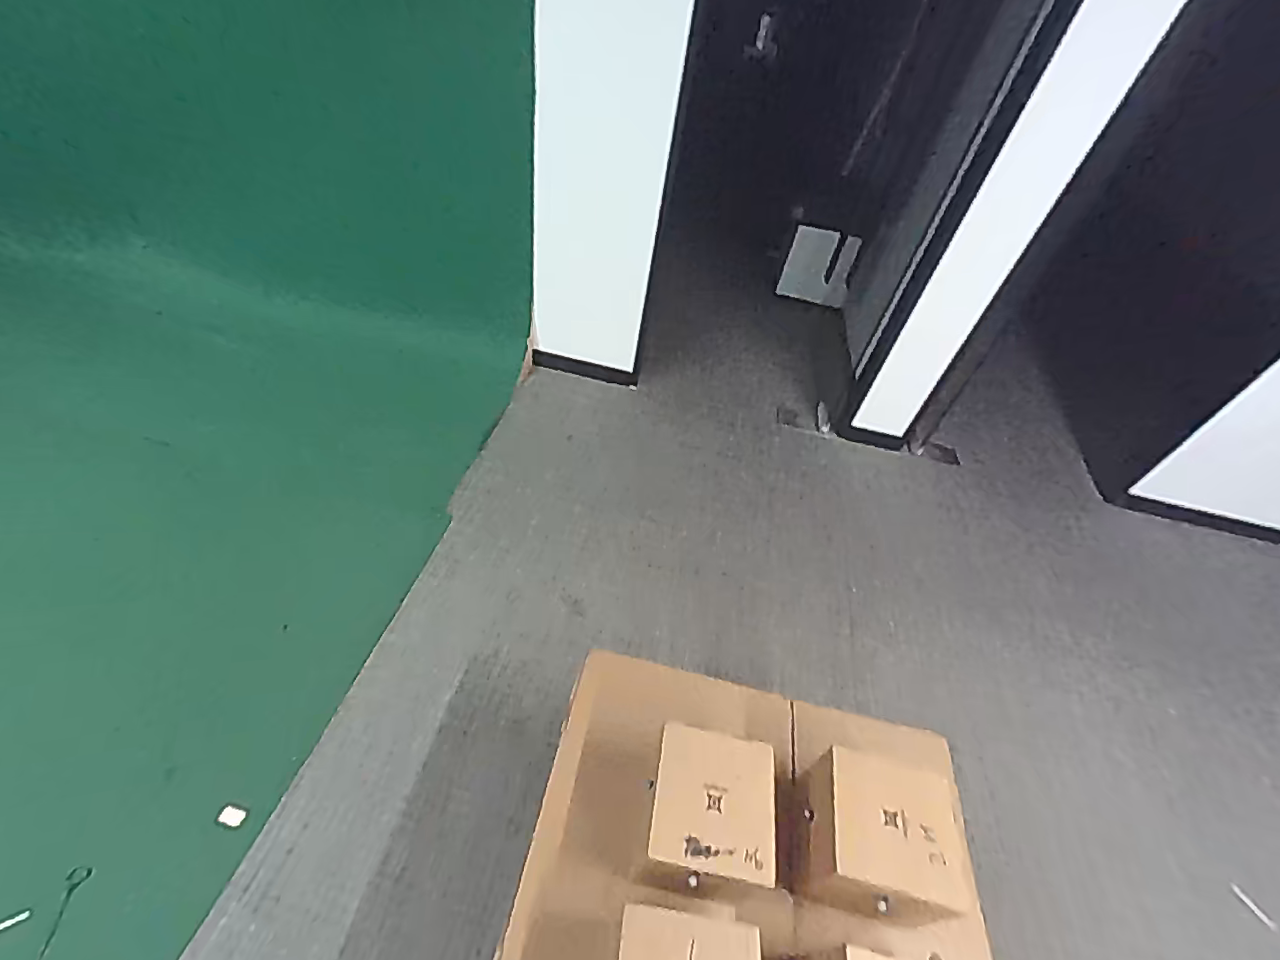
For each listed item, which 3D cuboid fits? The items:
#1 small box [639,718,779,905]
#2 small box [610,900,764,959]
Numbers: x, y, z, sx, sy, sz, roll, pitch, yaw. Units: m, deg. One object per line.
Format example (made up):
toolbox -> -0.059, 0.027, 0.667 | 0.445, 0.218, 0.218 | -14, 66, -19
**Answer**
small box -> 0.097, 0.482, 0.787 | 0.168, 0.176, 0.179 | 11, 43, 3
small box -> 0.045, 0.626, 0.635 | 0.168, 0.176, 0.179 | 10, 45, -1
